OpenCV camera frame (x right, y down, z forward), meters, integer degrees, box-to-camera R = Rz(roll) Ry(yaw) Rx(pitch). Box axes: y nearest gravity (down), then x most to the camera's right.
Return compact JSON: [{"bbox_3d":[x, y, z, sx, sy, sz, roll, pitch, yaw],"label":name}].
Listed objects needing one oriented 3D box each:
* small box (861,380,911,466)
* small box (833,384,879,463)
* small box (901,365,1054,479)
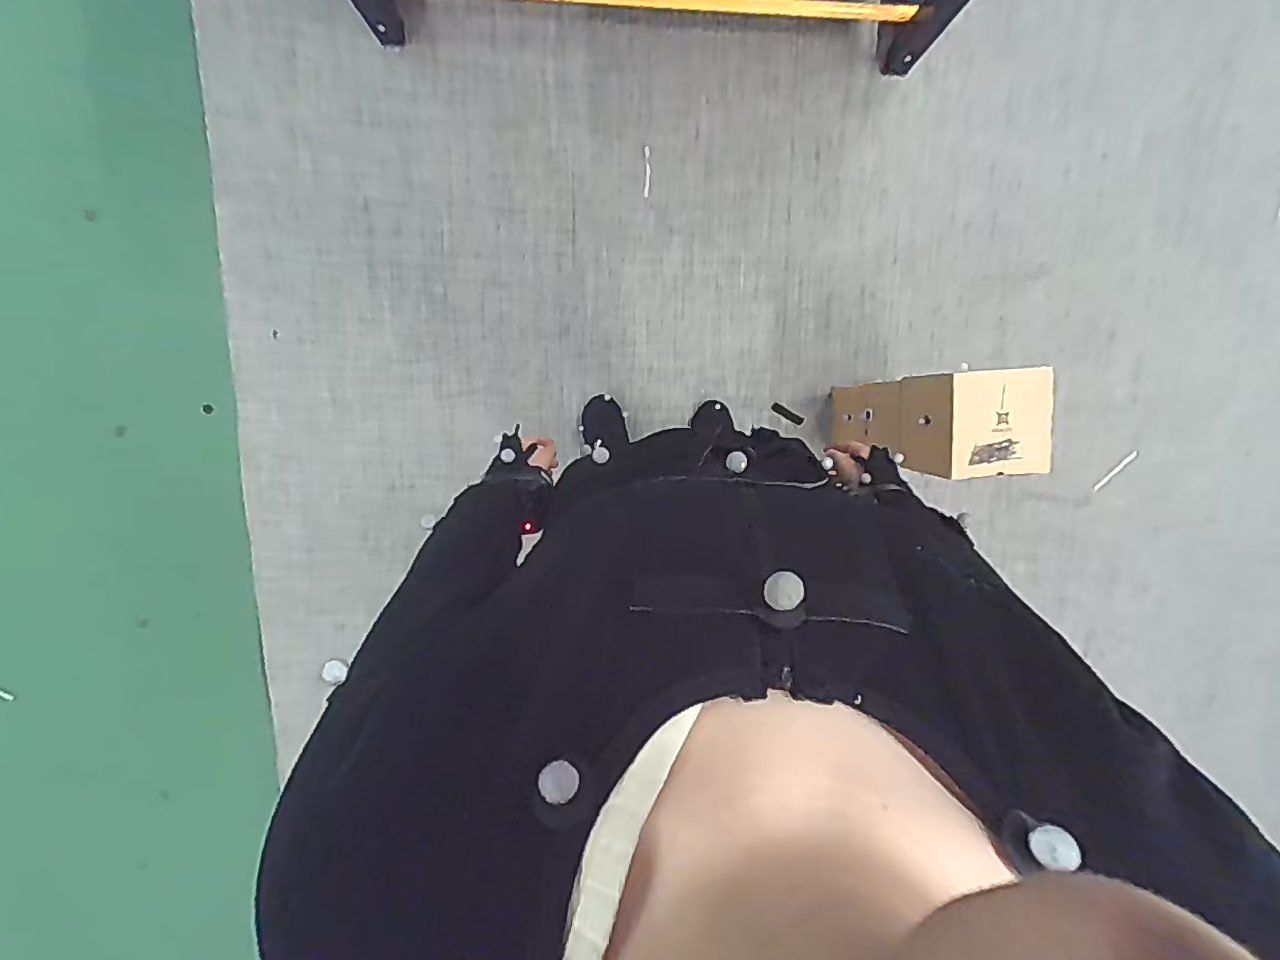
[{"bbox_3d":[0.575,-0.124,1.110,0.179,0.176,0.168,-5,97,0],"label":"small box"},{"bbox_3d":[0.566,-0.138,1.273,0.168,0.176,0.179,-4,98,-1],"label":"small box"},{"bbox_3d":[0.578,-0.103,0.947,0.168,0.176,0.179,-4,97,-1],"label":"small box"}]
